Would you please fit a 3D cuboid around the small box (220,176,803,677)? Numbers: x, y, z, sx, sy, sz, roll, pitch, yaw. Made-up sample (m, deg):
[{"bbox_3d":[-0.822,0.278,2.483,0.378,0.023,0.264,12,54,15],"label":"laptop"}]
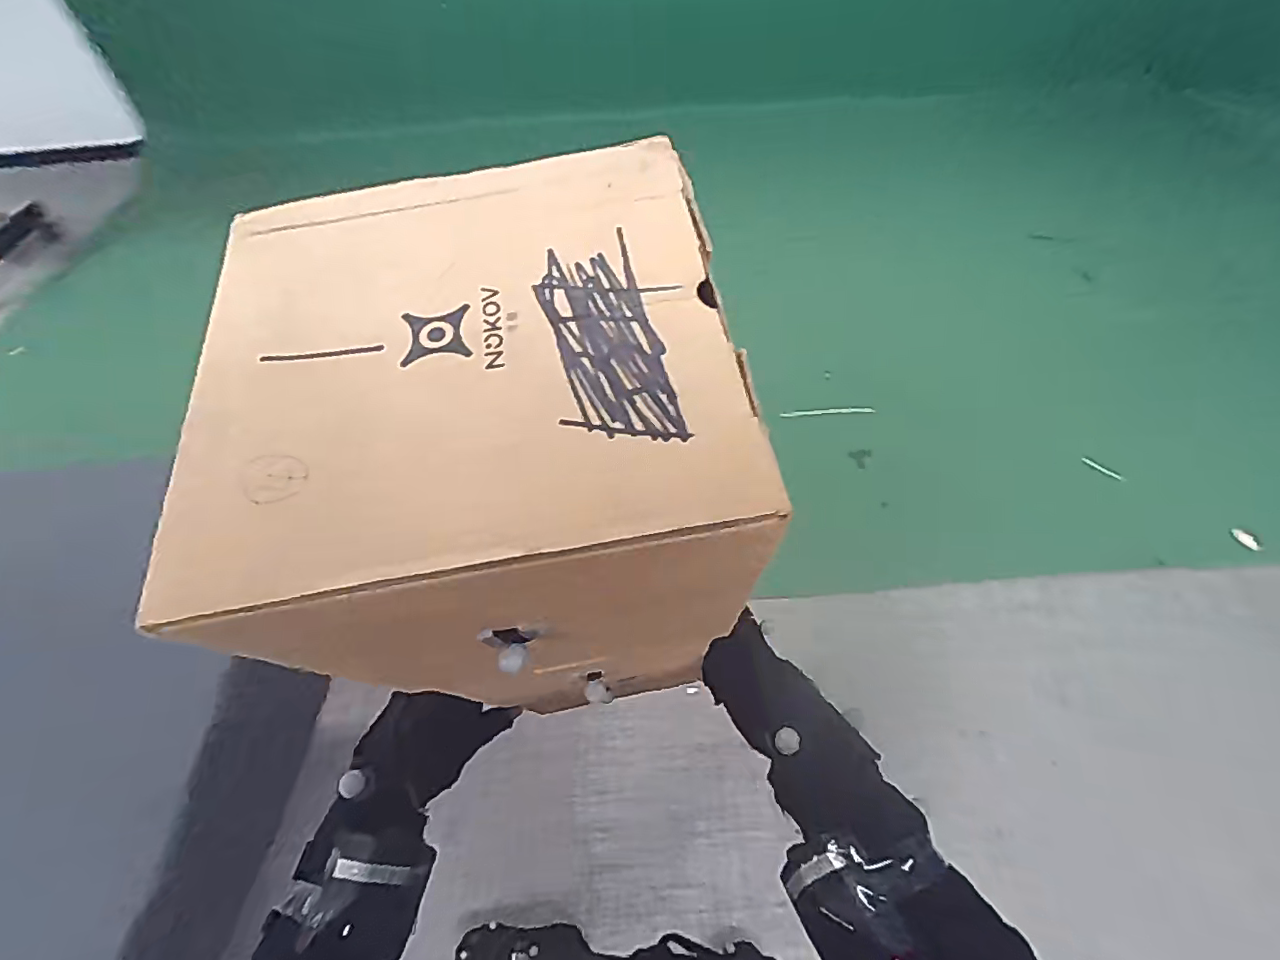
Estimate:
[{"bbox_3d":[-0.043,-0.008,0.264,0.179,0.176,0.168,-9,63,-1],"label":"small box"}]
